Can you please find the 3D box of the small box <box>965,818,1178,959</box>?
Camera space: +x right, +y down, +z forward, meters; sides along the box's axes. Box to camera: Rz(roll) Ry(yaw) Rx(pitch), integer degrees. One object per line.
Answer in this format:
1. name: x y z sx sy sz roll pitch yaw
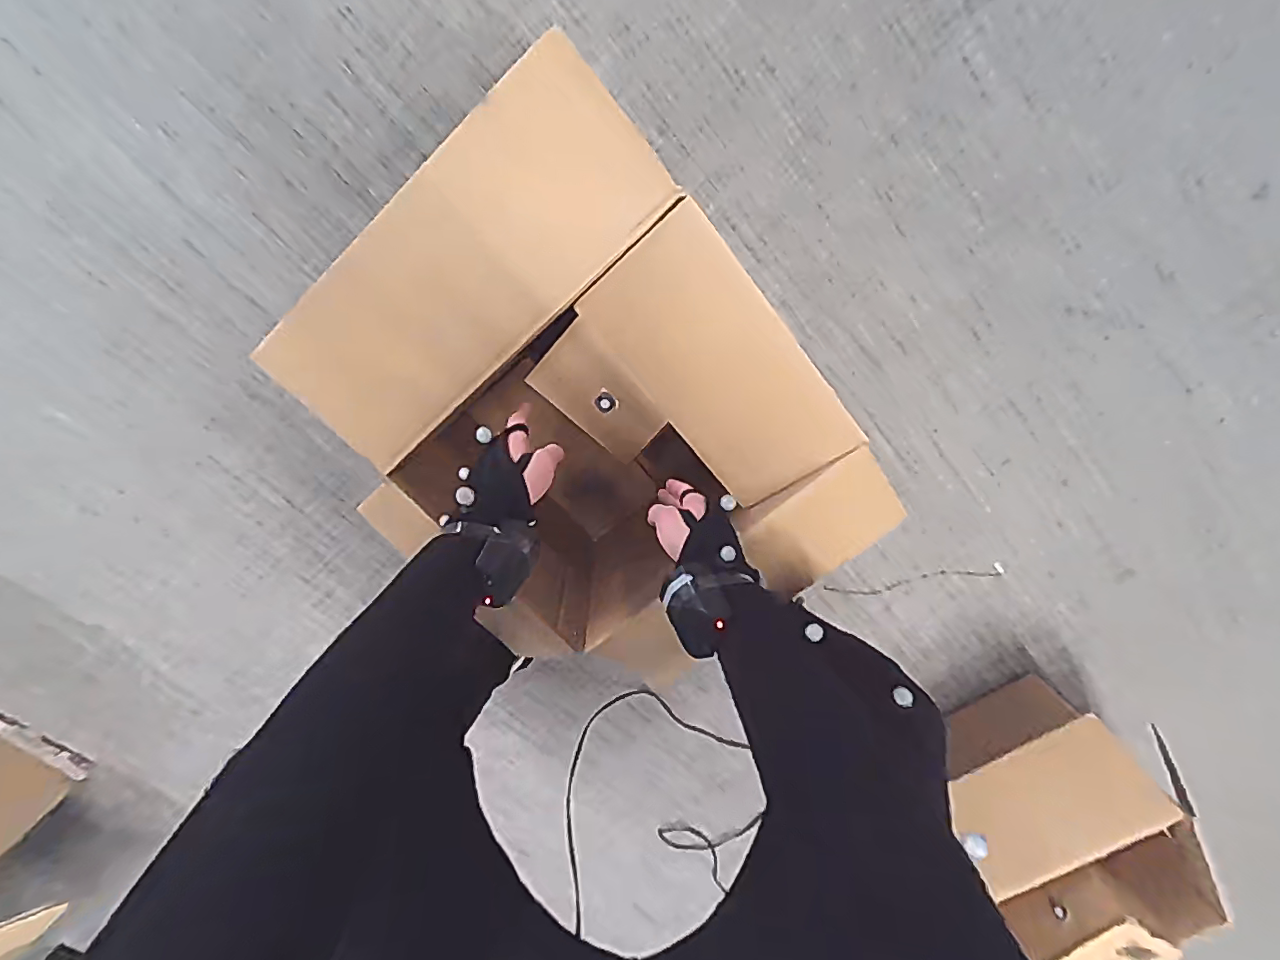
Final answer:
1. small box: 0.682 0.698 0.877 0.168 0.176 0.179 40 103 -14
